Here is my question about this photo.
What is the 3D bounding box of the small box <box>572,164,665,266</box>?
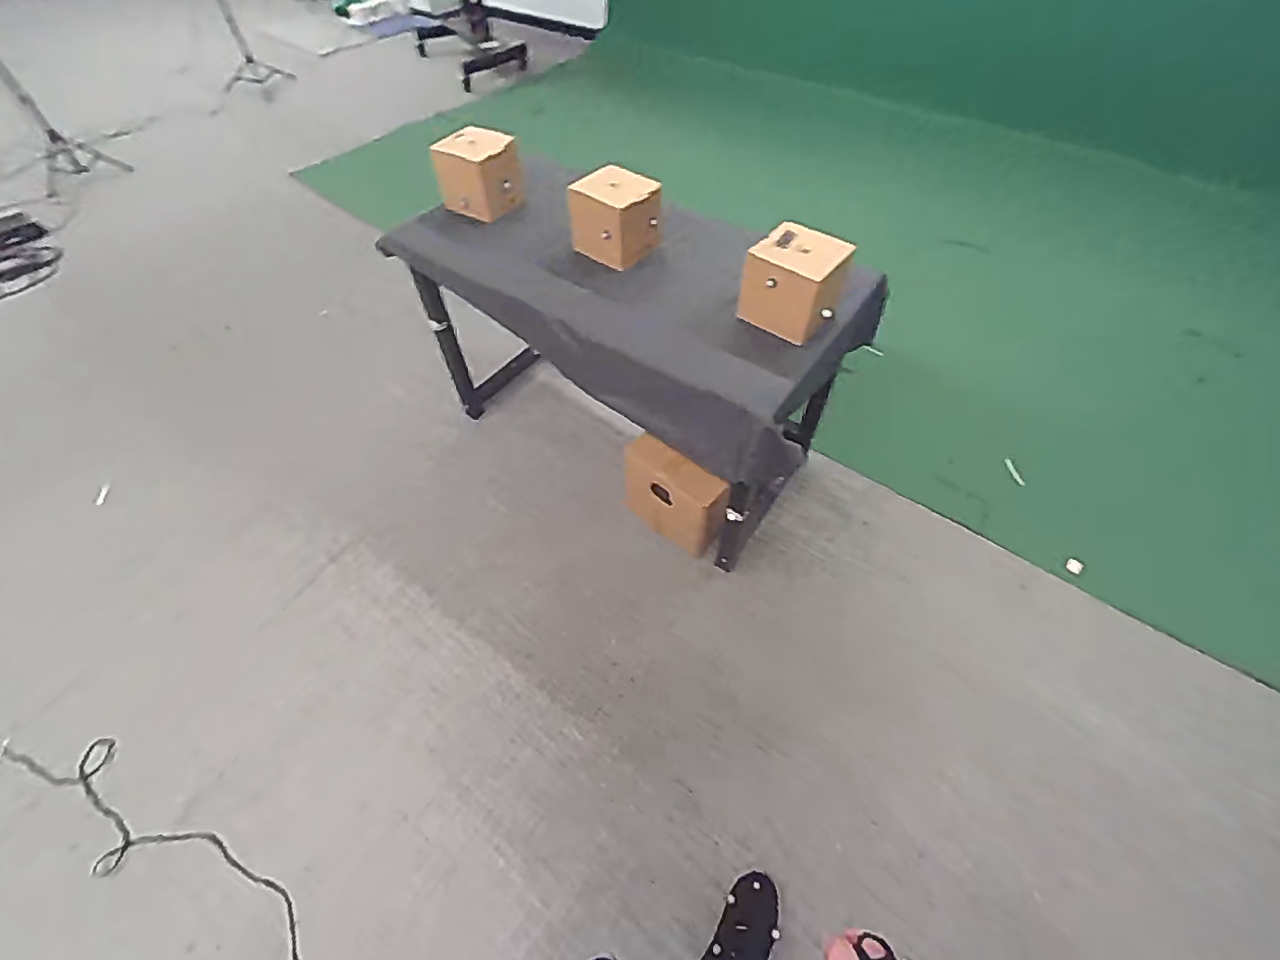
[{"bbox_3d":[-0.051,-0.680,1.398,0.179,0.176,0.168,33,59,24],"label":"small box"}]

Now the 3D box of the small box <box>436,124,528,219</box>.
[{"bbox_3d":[-0.441,-0.878,1.546,0.179,0.176,0.168,27,58,18],"label":"small box"}]

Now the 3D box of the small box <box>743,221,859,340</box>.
[{"bbox_3d":[0.351,-0.444,1.213,0.179,0.176,0.168,35,61,23],"label":"small box"}]
